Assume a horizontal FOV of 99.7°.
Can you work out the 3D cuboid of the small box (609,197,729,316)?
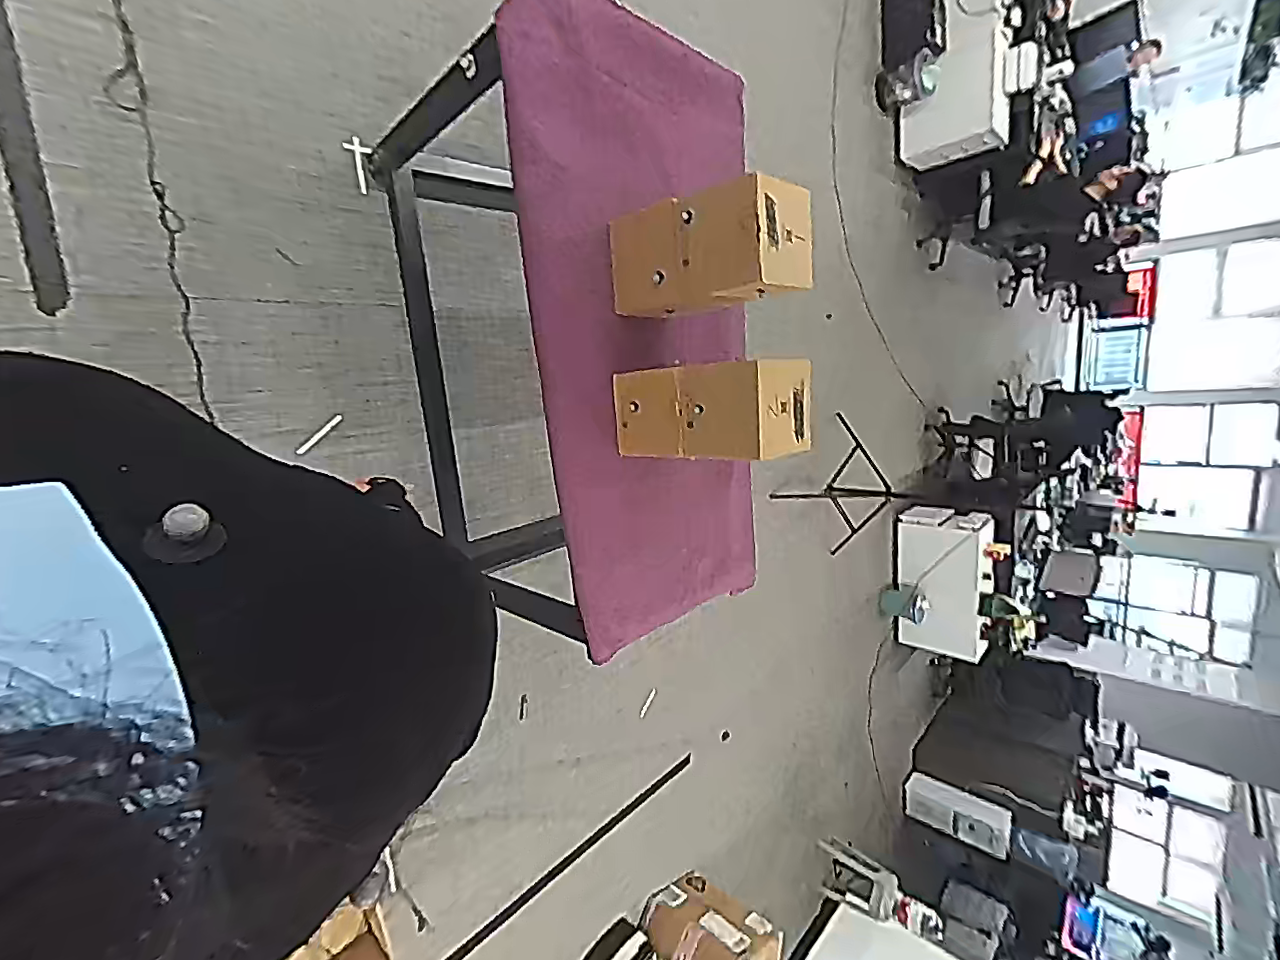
[{"bbox_3d":[0.056,-0.421,1.055,0.168,0.176,0.179,-13,104,-45],"label":"small box"}]

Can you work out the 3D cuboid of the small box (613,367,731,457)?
[{"bbox_3d":[0.066,-0.142,1.095,0.179,0.176,0.168,-14,104,-45],"label":"small box"}]

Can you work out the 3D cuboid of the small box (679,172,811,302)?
[{"bbox_3d":[0.179,-0.410,0.947,0.179,0.176,0.168,-16,106,-45],"label":"small box"}]
